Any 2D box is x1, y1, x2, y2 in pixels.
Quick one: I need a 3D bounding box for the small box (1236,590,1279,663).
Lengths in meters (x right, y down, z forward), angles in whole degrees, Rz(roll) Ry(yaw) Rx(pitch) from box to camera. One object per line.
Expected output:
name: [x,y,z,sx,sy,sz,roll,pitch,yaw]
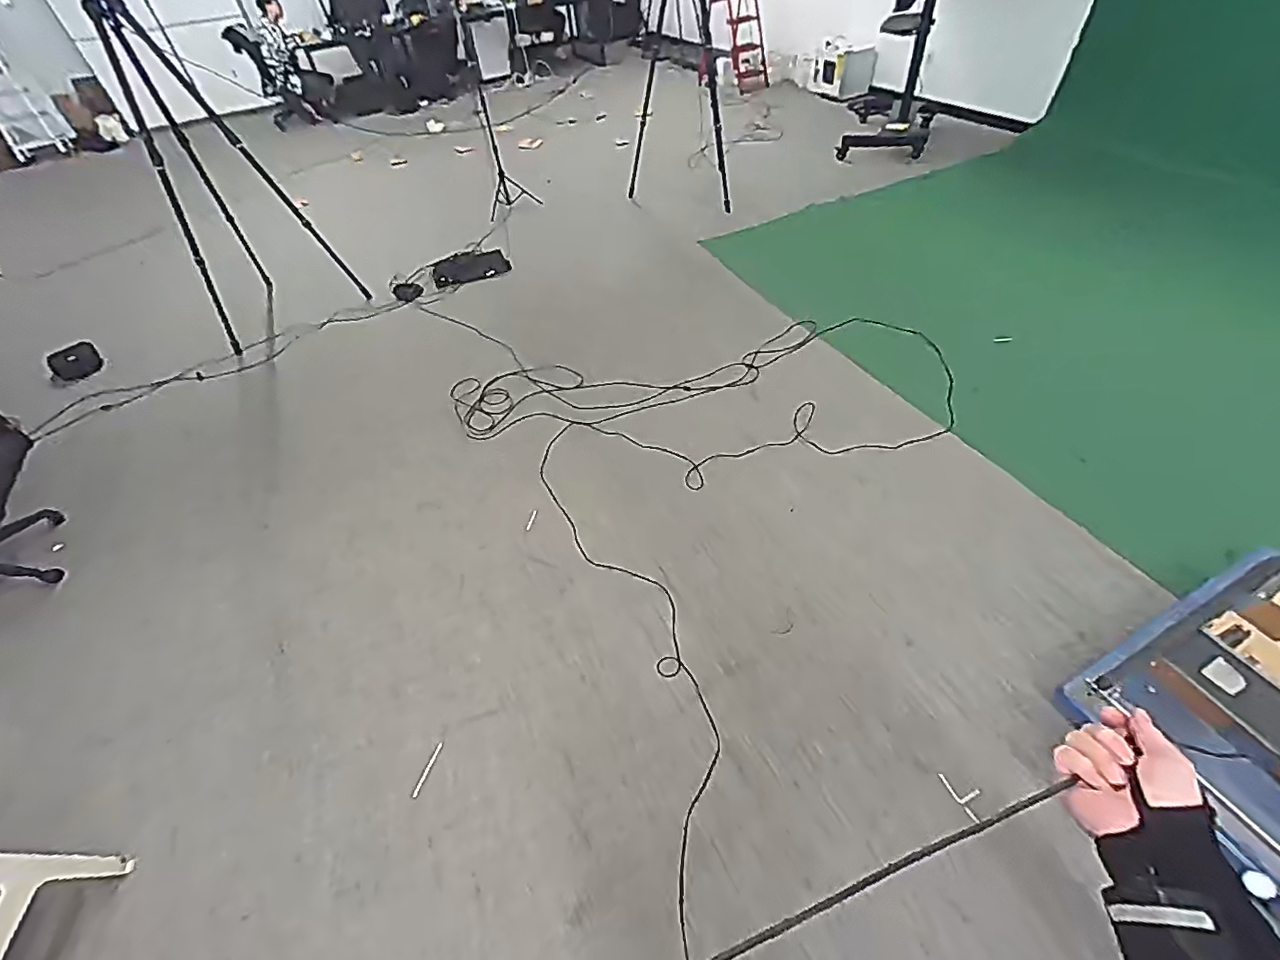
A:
small box: [1.608,0.347,1.292,0.179,0.176,0.168,-27,51,-16]
